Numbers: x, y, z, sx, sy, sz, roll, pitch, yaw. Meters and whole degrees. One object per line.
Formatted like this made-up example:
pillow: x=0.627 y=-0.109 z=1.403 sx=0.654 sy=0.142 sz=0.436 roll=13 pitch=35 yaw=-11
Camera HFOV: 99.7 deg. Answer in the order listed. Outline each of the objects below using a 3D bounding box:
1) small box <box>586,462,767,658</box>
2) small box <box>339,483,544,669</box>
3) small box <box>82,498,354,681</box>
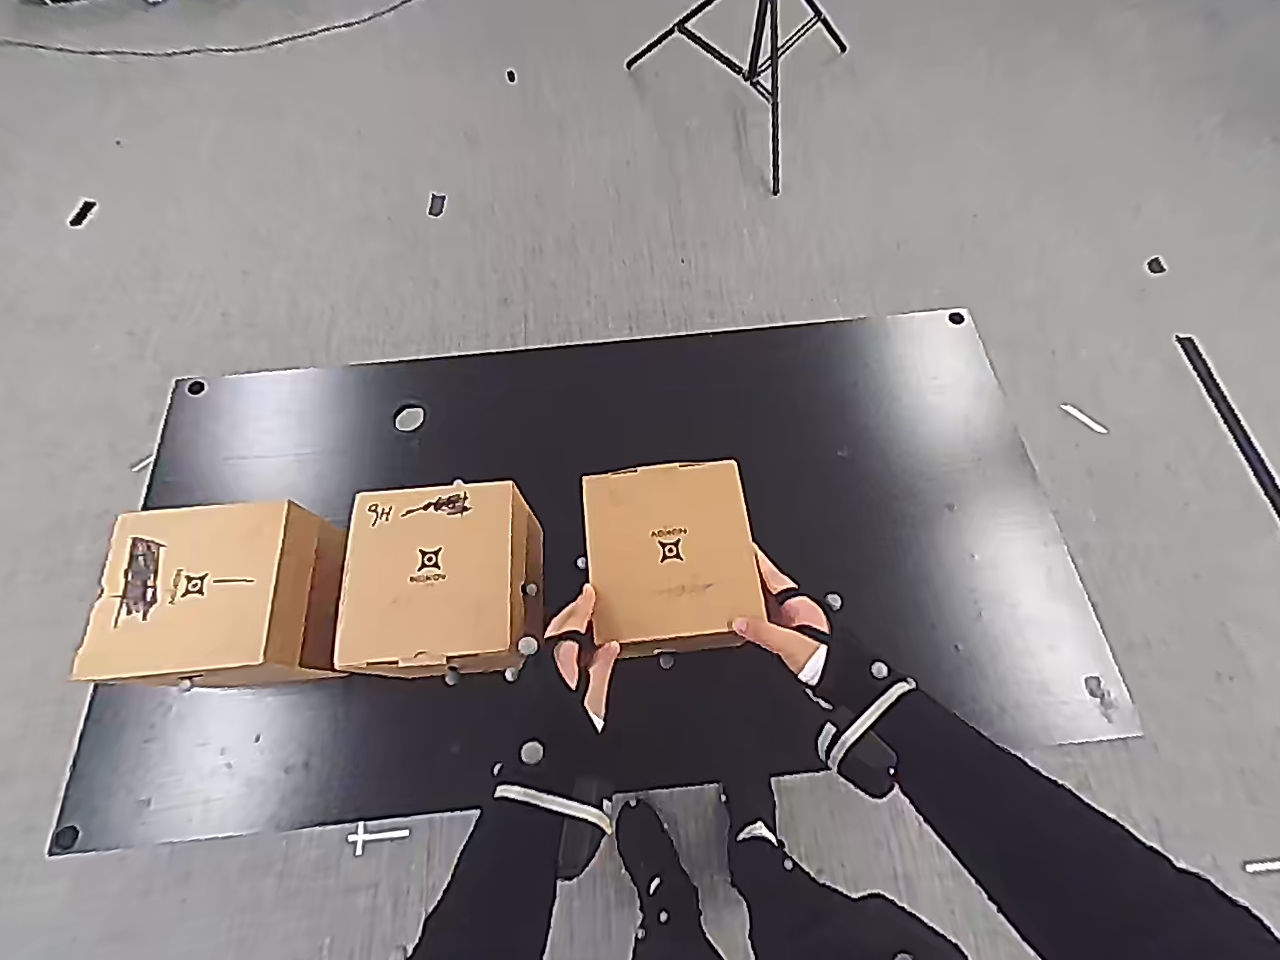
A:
small box: x=0.033 y=0.099 z=0.615 sx=0.168 sy=0.176 sz=0.179 roll=-7 pitch=69 yaw=-1
small box: x=-0.204 y=0.118 z=0.609 sx=0.168 sy=0.176 sz=0.179 roll=-4 pitch=68 yaw=0
small box: x=-0.436 y=0.131 z=0.606 sx=0.179 sy=0.176 sz=0.168 roll=-5 pitch=68 yaw=-2
